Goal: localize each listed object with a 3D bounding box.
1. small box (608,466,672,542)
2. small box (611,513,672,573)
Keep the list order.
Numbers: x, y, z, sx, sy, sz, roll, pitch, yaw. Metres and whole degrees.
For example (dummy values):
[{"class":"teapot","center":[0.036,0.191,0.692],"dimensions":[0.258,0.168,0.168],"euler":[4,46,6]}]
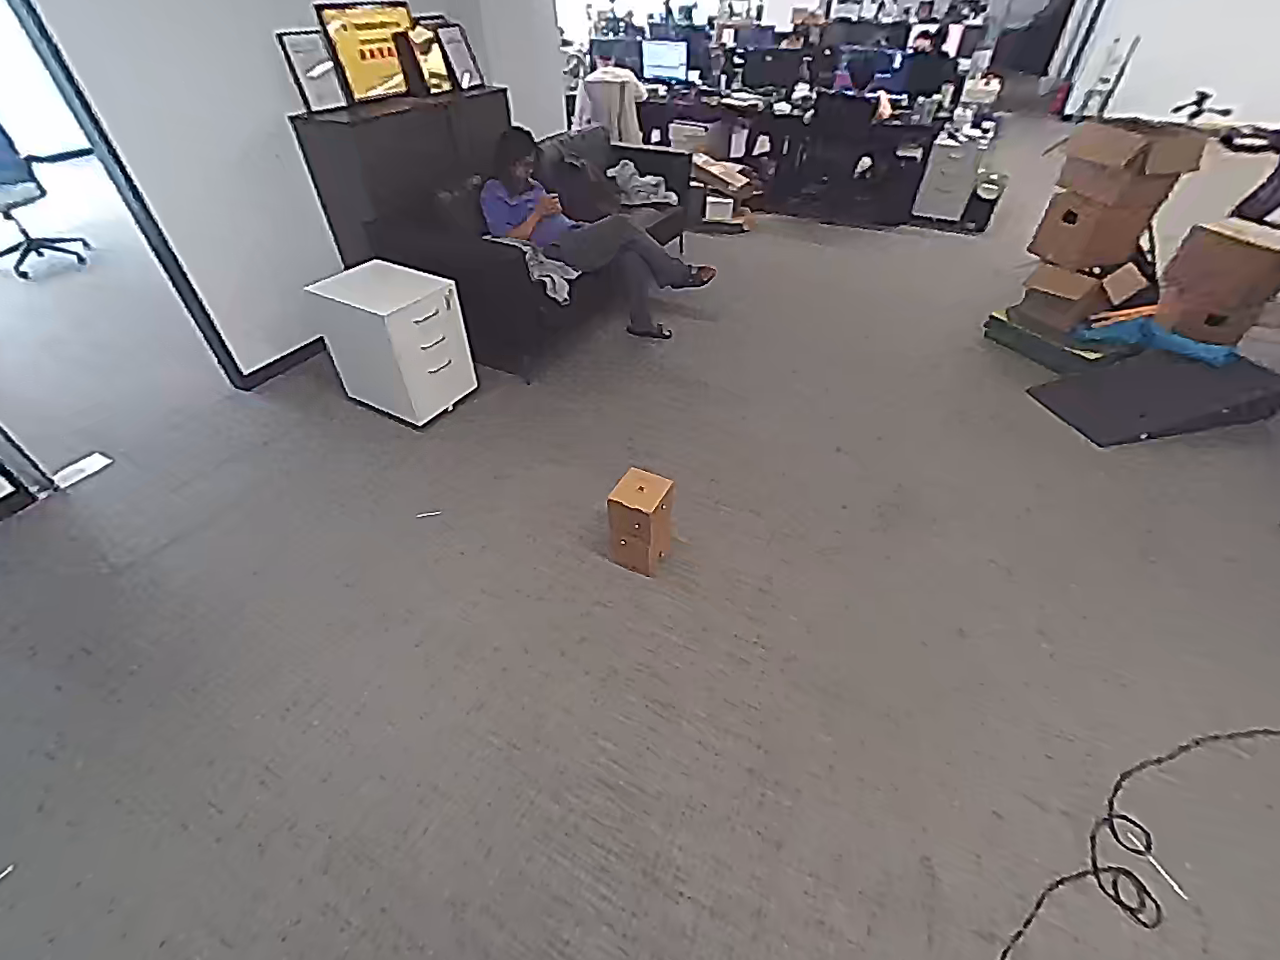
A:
[{"class":"small box","center":[0.003,0.086,1.880],"dimensions":[0.168,0.176,0.179],"euler":[19,44,19]},{"class":"small box","center":[0.005,0.207,1.988],"dimensions":[0.168,0.176,0.179],"euler":[20,45,21]}]
